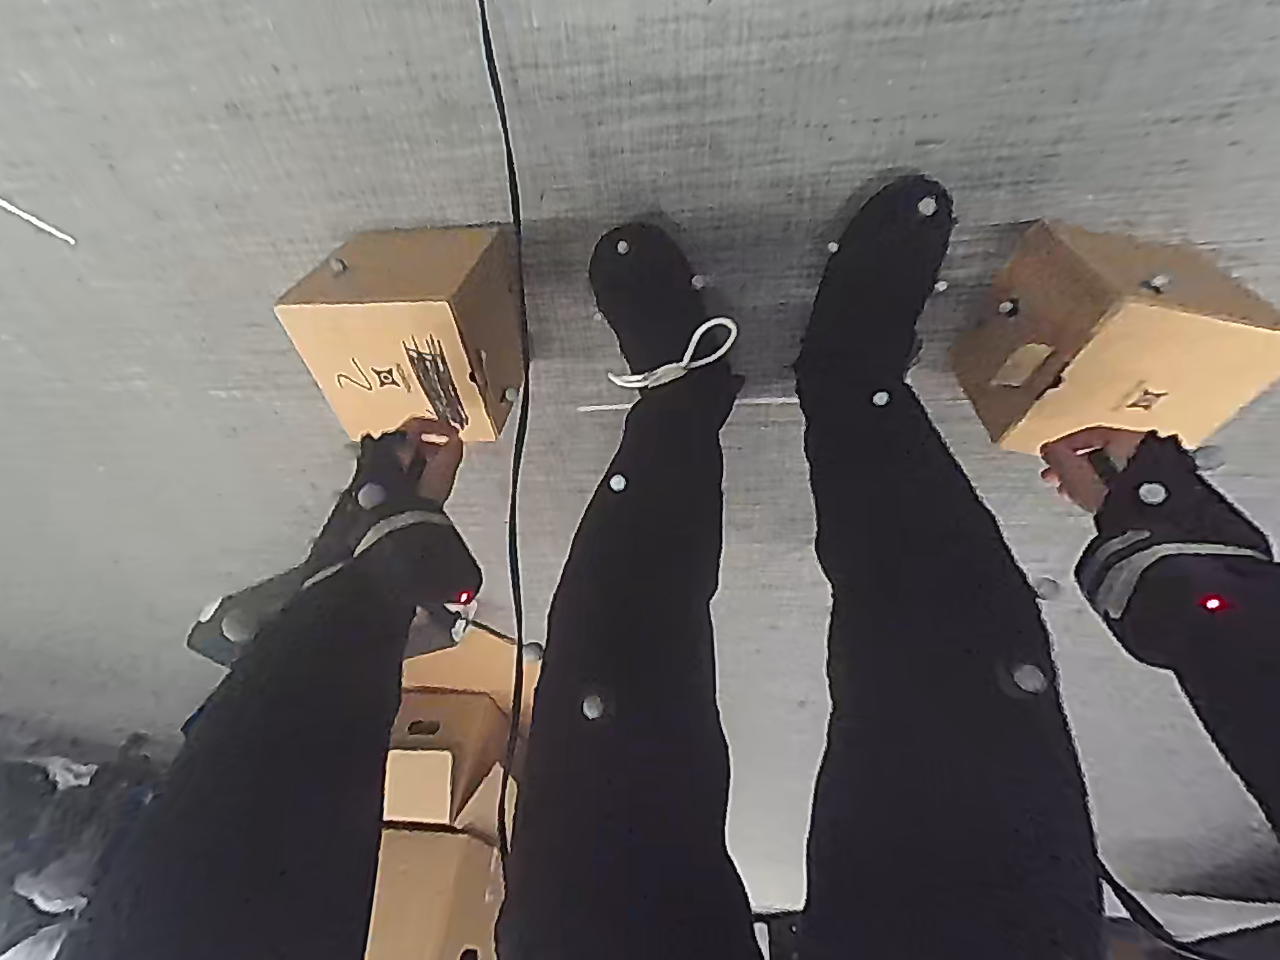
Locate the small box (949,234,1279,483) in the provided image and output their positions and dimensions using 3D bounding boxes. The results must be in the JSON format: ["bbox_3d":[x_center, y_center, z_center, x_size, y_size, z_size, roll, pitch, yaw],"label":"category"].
[{"bbox_3d":[0.456,-0.123,0.541,0.179,0.176,0.168,10,136,-2],"label":"small box"}]
